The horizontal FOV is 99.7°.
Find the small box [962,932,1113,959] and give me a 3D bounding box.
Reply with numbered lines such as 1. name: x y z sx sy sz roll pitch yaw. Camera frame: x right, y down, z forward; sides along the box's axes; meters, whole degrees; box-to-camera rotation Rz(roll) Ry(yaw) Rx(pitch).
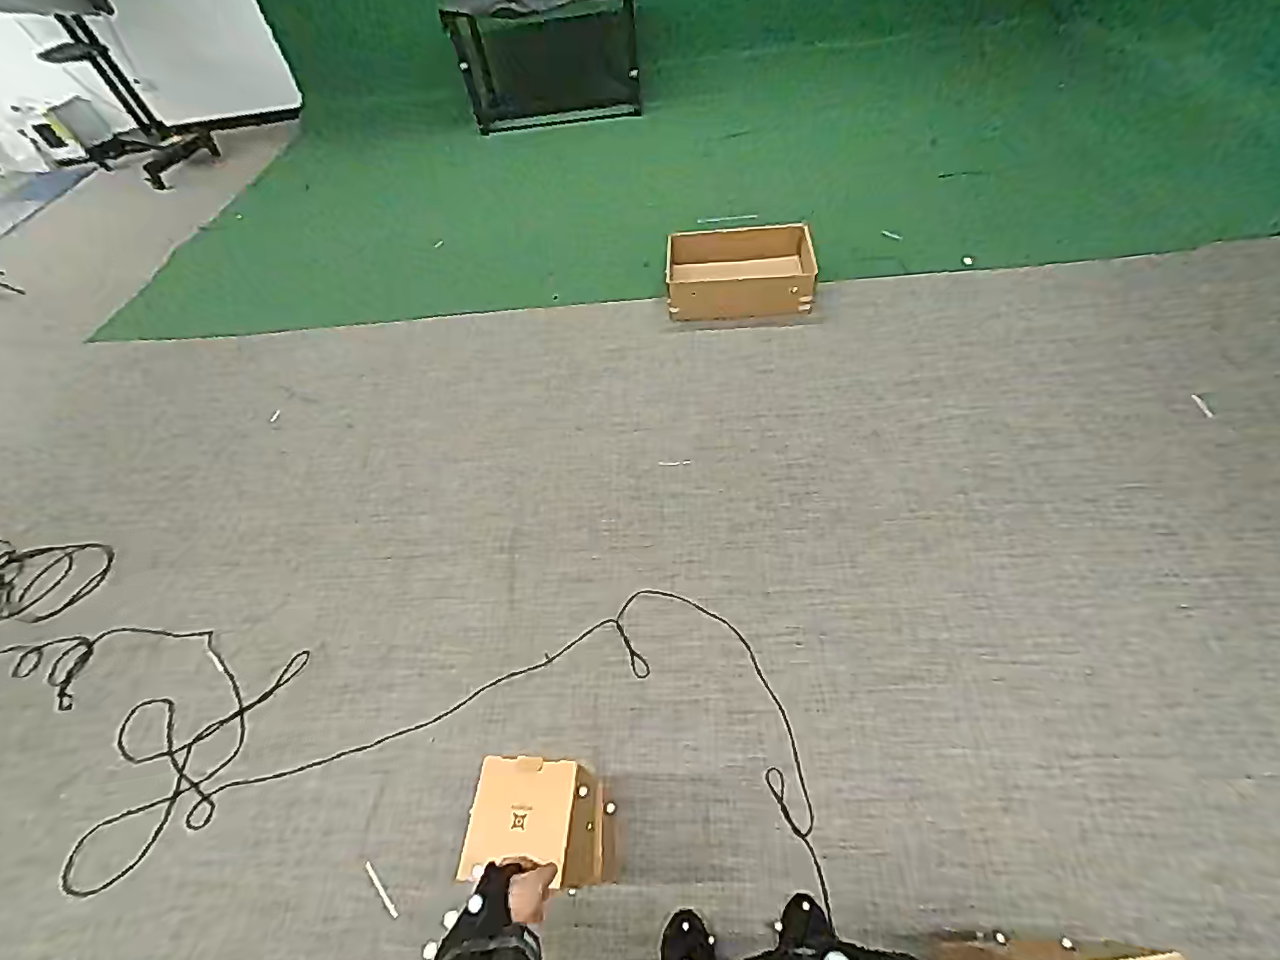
1. small box: 0.642 0.830 0.852 0.179 0.176 0.168 -6 54 2

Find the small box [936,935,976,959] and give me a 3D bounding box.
1. small box: 0.661 0.936 0.975 0.179 0.176 0.168 -4 53 5

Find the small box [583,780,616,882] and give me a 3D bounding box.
1. small box: -0.146 0.781 1.198 0.168 0.176 0.179 -6 52 4

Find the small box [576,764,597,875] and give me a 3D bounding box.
1. small box: -0.181 0.679 1.074 0.168 0.176 0.179 -4 51 4

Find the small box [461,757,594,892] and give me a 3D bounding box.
1. small box: -0.180 0.595 0.932 0.168 0.176 0.179 -1 52 8
